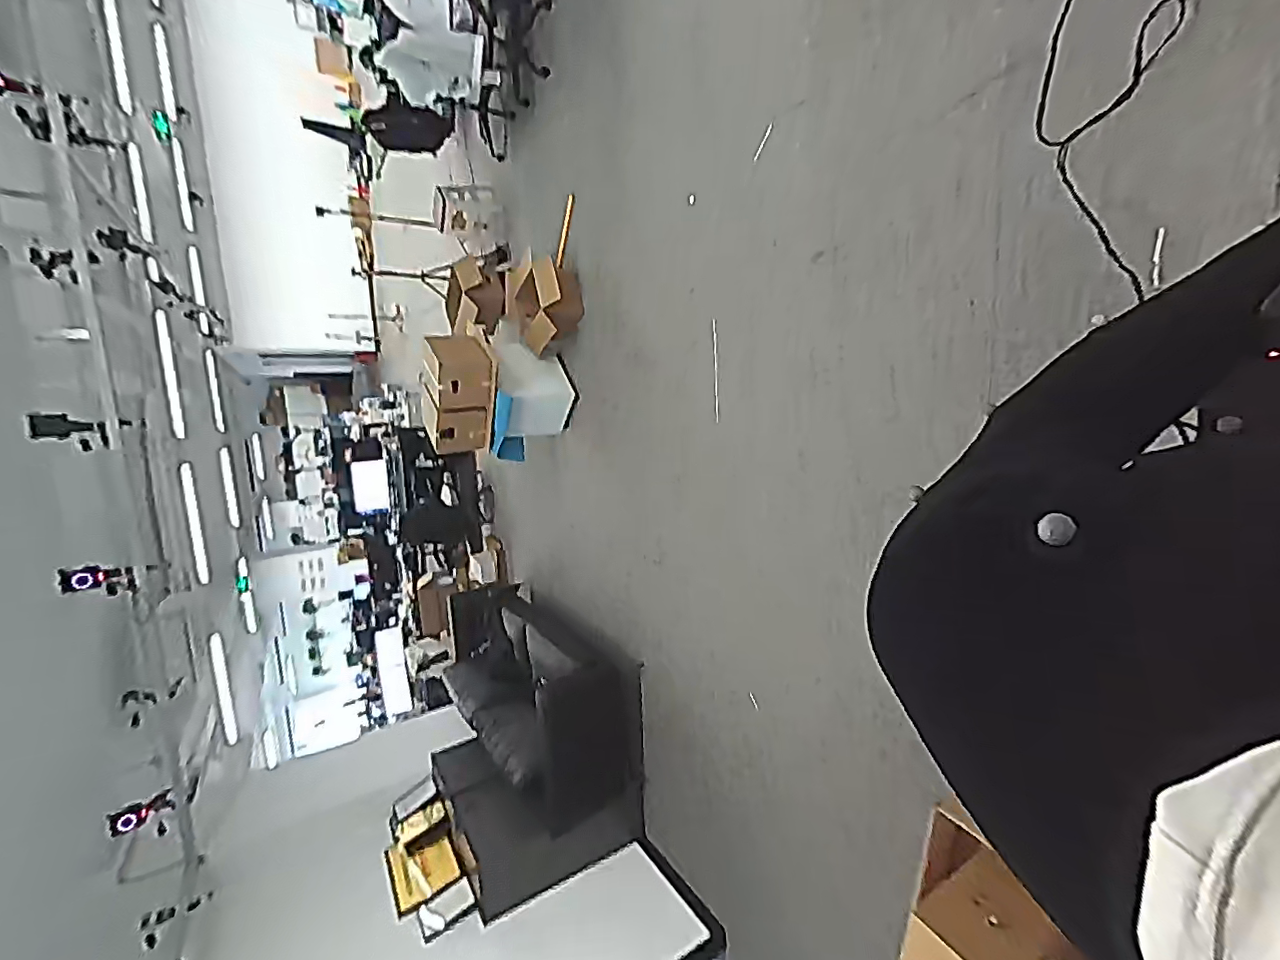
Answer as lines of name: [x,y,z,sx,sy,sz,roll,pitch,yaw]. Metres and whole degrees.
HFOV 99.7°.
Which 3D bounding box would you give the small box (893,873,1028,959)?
small box: [0.644,0.958,1.092,0.168,0.176,0.179,25,116,53]
